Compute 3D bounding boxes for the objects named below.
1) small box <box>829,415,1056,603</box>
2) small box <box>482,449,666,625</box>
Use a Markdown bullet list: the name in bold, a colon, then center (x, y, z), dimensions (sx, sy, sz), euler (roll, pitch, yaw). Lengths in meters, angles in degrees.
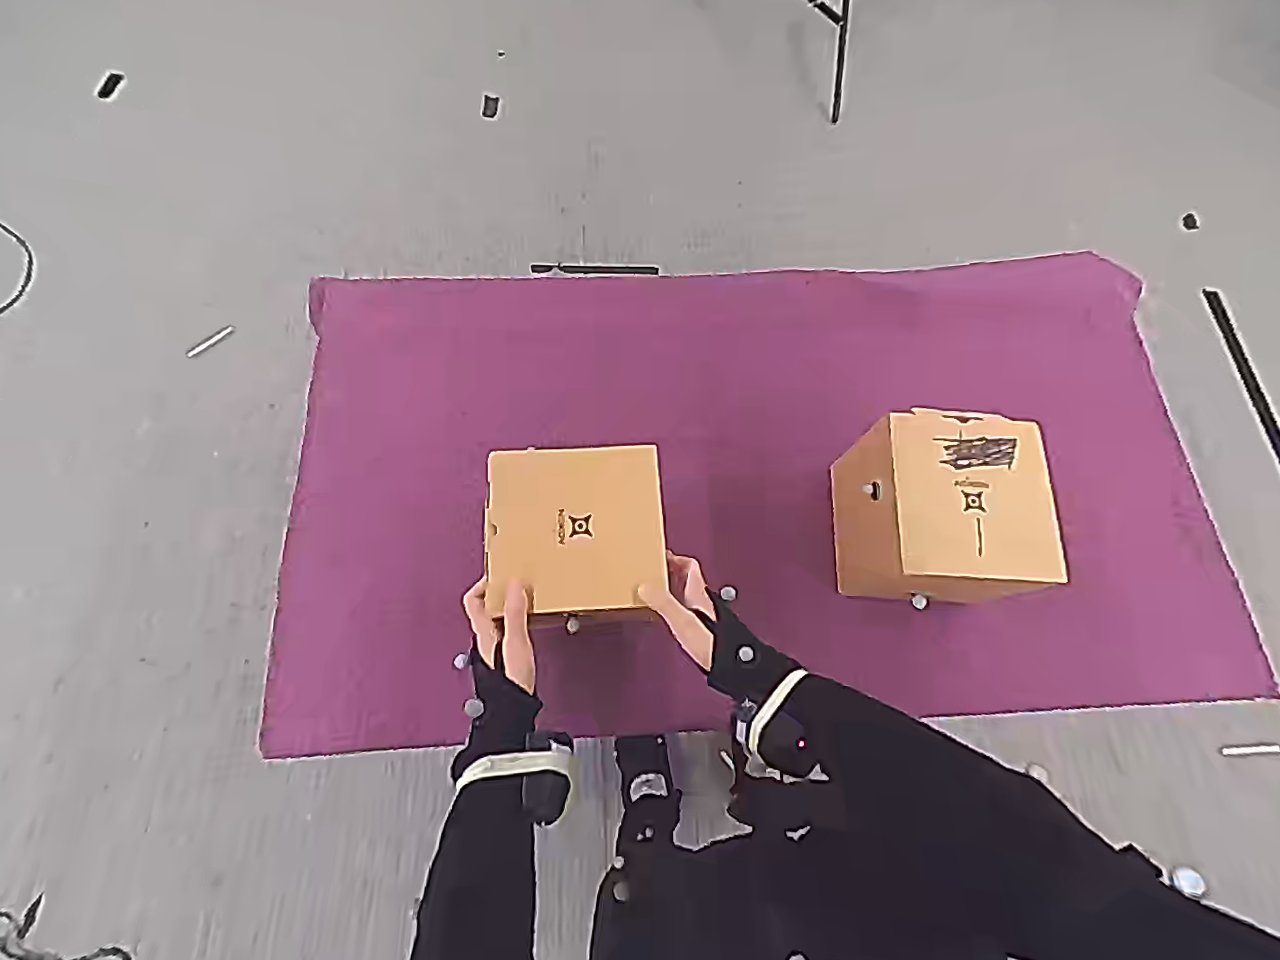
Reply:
- **small box**: center (0.332, 0.043, 0.635), dimensions (0.168, 0.176, 0.179), euler (4, 71, -1)
- **small box**: center (-0.070, 0.072, 0.611), dimensions (0.179, 0.176, 0.168), euler (-3, 72, -3)
